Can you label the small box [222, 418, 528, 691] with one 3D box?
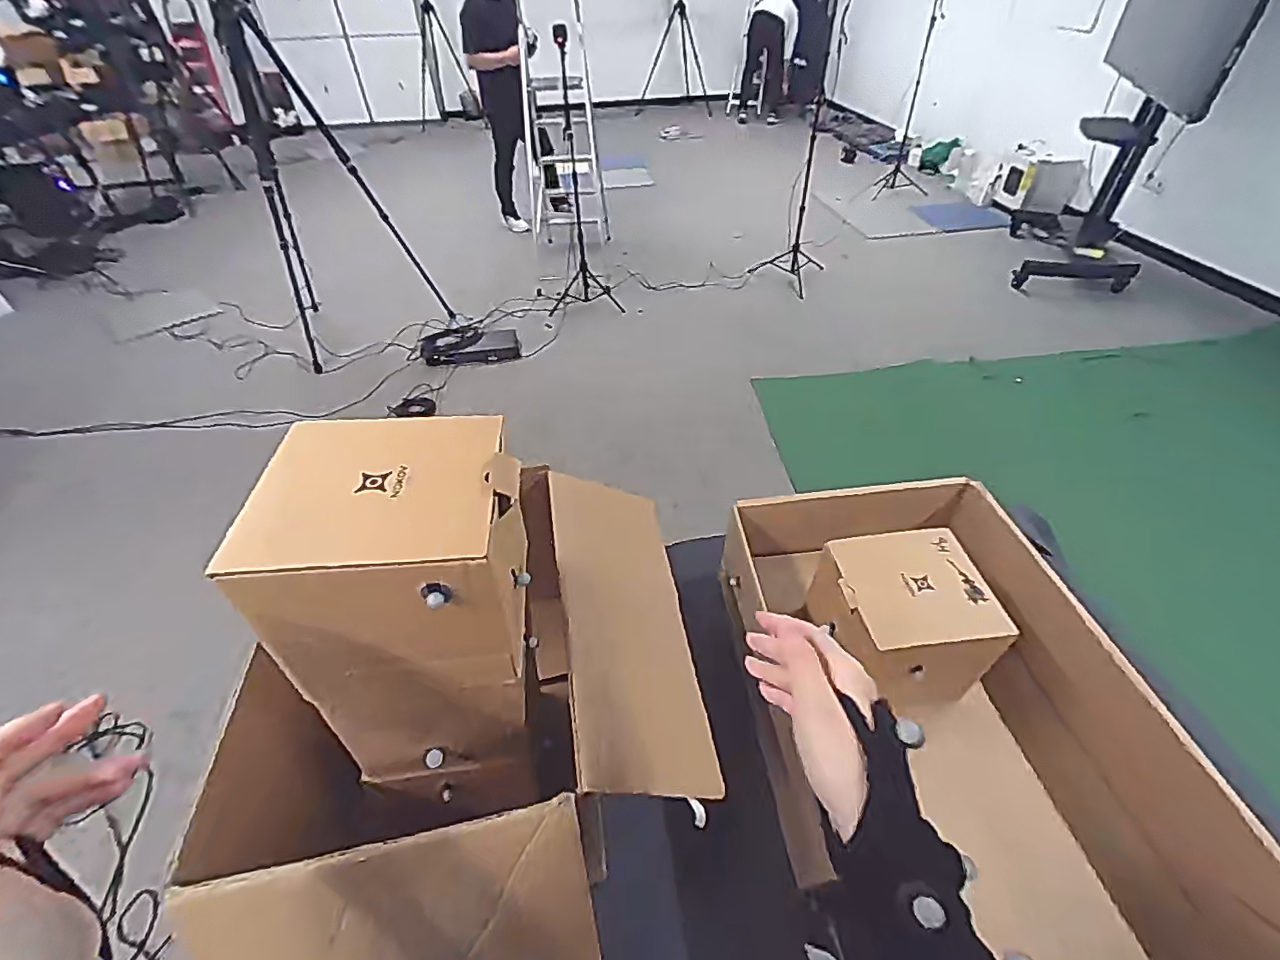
[{"bbox_3d":[-0.195,0.064,0.465,0.179,0.176,0.168,-2,43,-8],"label":"small box"}]
